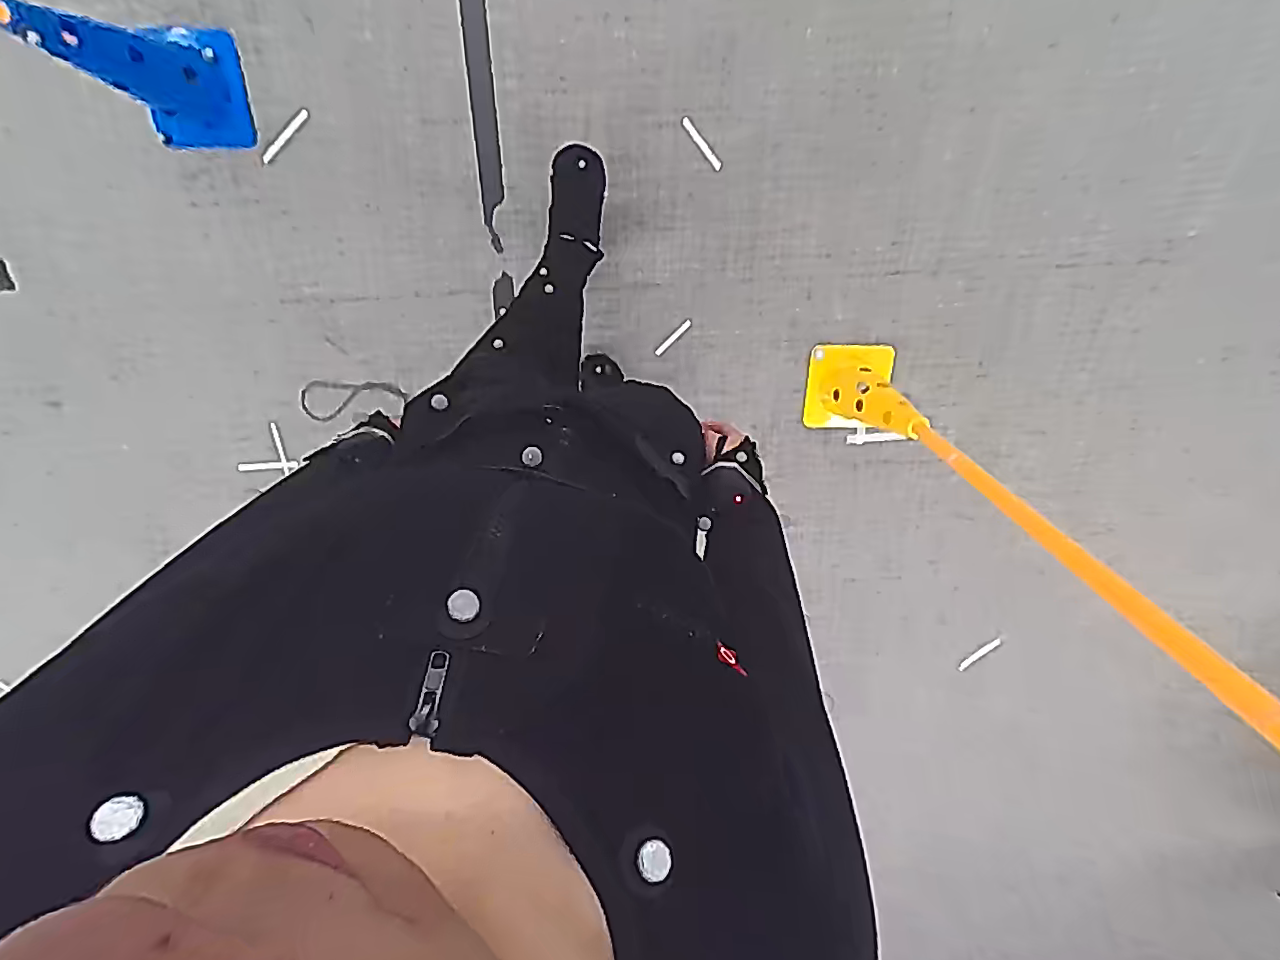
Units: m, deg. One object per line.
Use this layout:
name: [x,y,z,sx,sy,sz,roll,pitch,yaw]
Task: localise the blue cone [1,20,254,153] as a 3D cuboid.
blue cone: [-0.882,-0.703,0.926,0.193,0.380,0.192,1,112,-1]
